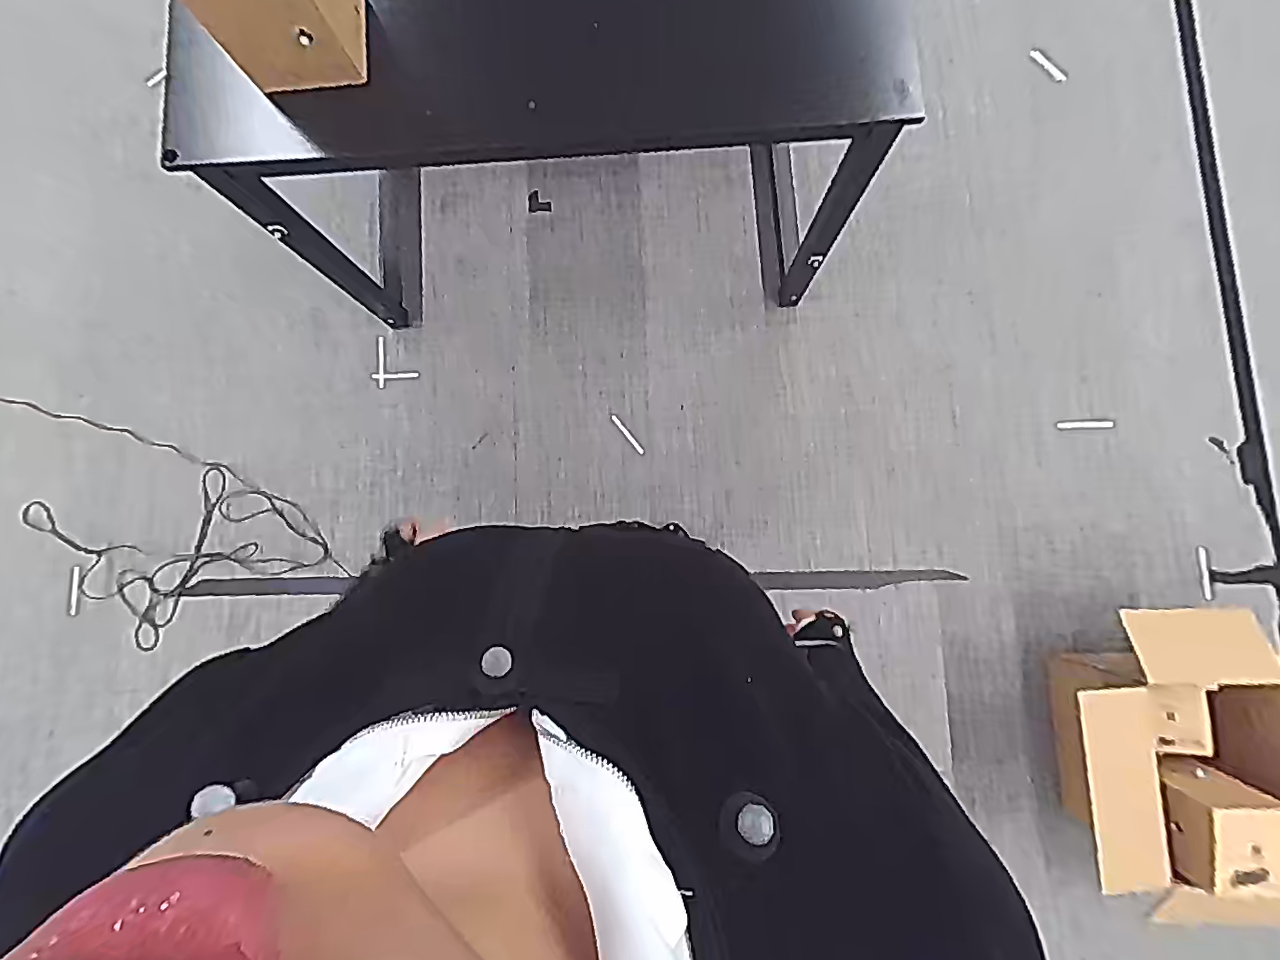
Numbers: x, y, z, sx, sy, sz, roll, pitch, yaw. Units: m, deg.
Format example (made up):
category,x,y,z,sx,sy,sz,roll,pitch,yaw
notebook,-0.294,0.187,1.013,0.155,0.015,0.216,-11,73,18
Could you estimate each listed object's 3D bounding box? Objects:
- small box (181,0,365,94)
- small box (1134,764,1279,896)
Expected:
category,x,y,z,sx,sy,sz,roll,pitch,yaw
small box,-0.531,-0.717,0.802,0.179,0.176,0.168,-5,83,2
small box,1.201,0.733,1.146,0.168,0.176,0.179,1,88,1
